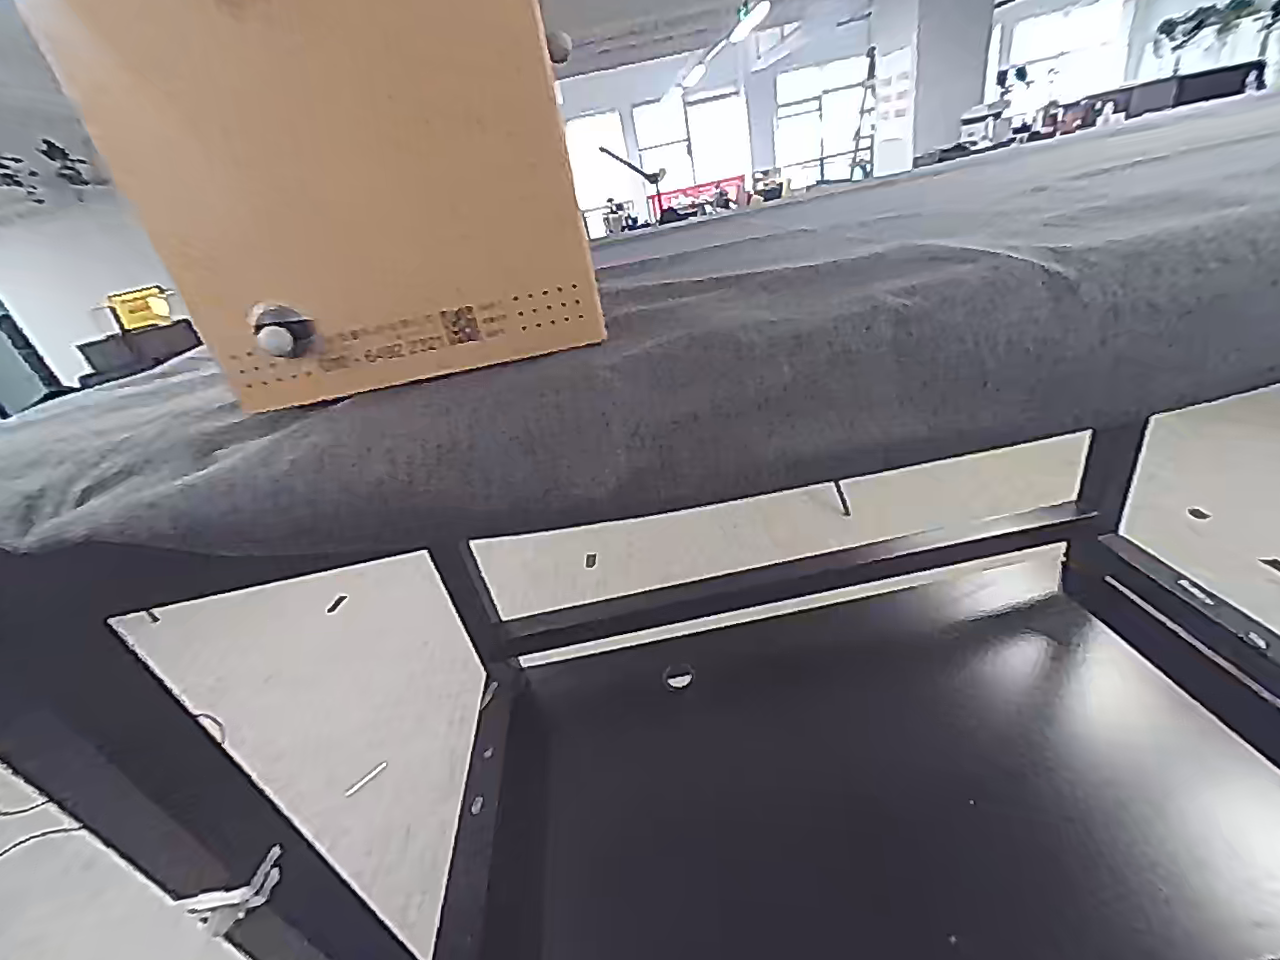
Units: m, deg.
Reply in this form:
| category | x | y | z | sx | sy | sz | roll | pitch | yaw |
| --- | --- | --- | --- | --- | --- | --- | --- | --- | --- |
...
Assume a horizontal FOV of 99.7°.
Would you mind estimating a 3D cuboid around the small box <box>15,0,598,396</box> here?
| category | x | y | z | sx | sy | sz | roll | pitch | yaw |
| --- | --- | --- | --- | --- | --- | --- | --- | --- | --- |
| small box | -0.121 | -0.152 | 0.281 | 0.168 | 0.176 | 0.179 | -12 | 26 | -3 |
